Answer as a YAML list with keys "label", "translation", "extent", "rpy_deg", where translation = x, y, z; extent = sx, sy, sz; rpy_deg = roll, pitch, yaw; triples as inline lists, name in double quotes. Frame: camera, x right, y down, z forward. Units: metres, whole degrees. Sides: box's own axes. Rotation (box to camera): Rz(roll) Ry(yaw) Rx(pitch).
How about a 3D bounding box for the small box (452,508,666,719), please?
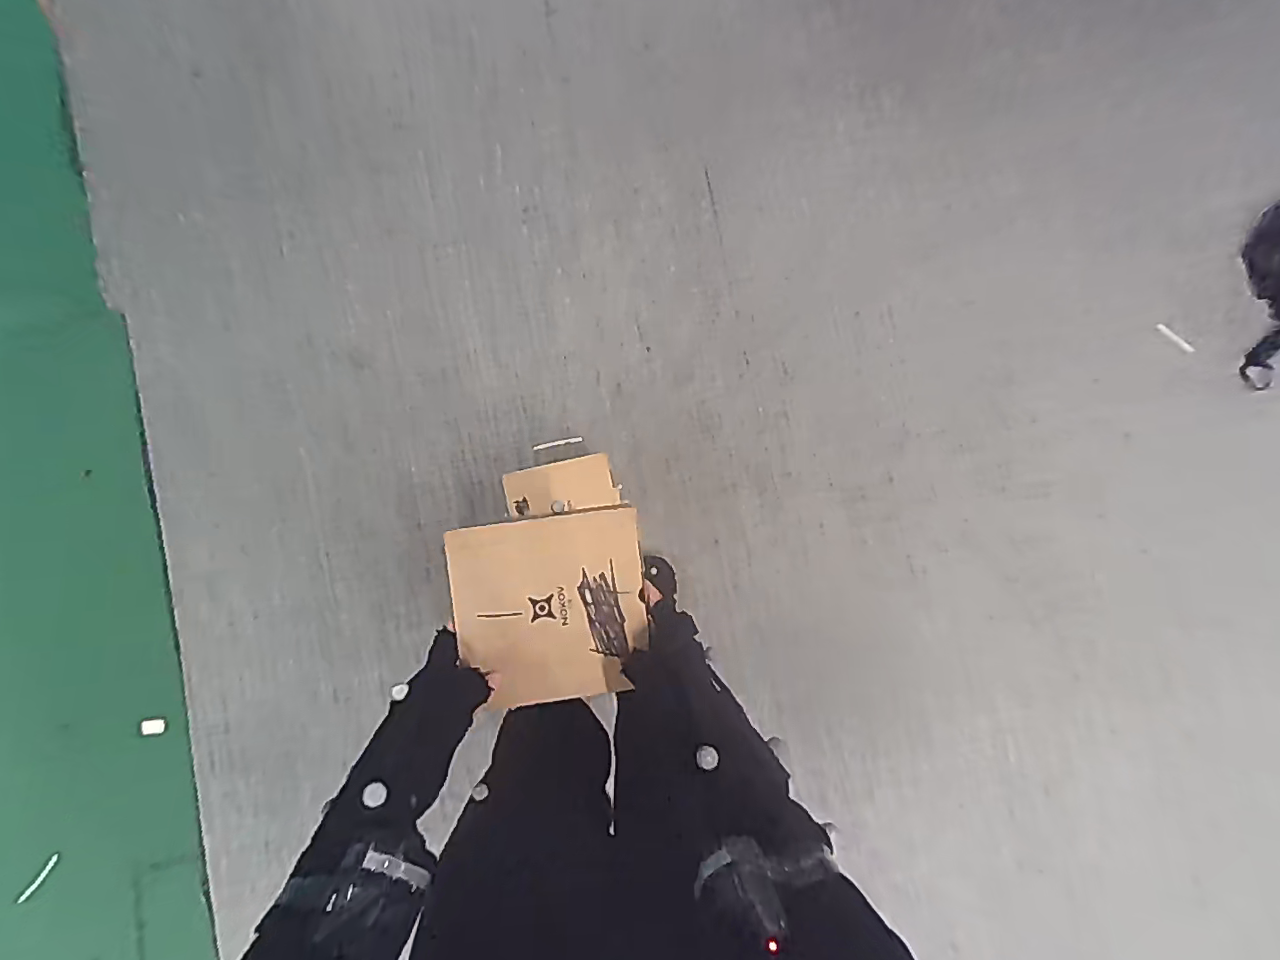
- label: "small box"
  translation: [-0.080, 0.124, 0.576]
  extent: [0.179, 0.176, 0.168]
  rpy_deg: [-10, 89, -4]

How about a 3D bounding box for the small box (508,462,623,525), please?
- label: "small box"
  translation: [-0.116, 0.069, 0.946]
  extent: [0.179, 0.176, 0.168]
  rpy_deg: [-12, 86, -1]
